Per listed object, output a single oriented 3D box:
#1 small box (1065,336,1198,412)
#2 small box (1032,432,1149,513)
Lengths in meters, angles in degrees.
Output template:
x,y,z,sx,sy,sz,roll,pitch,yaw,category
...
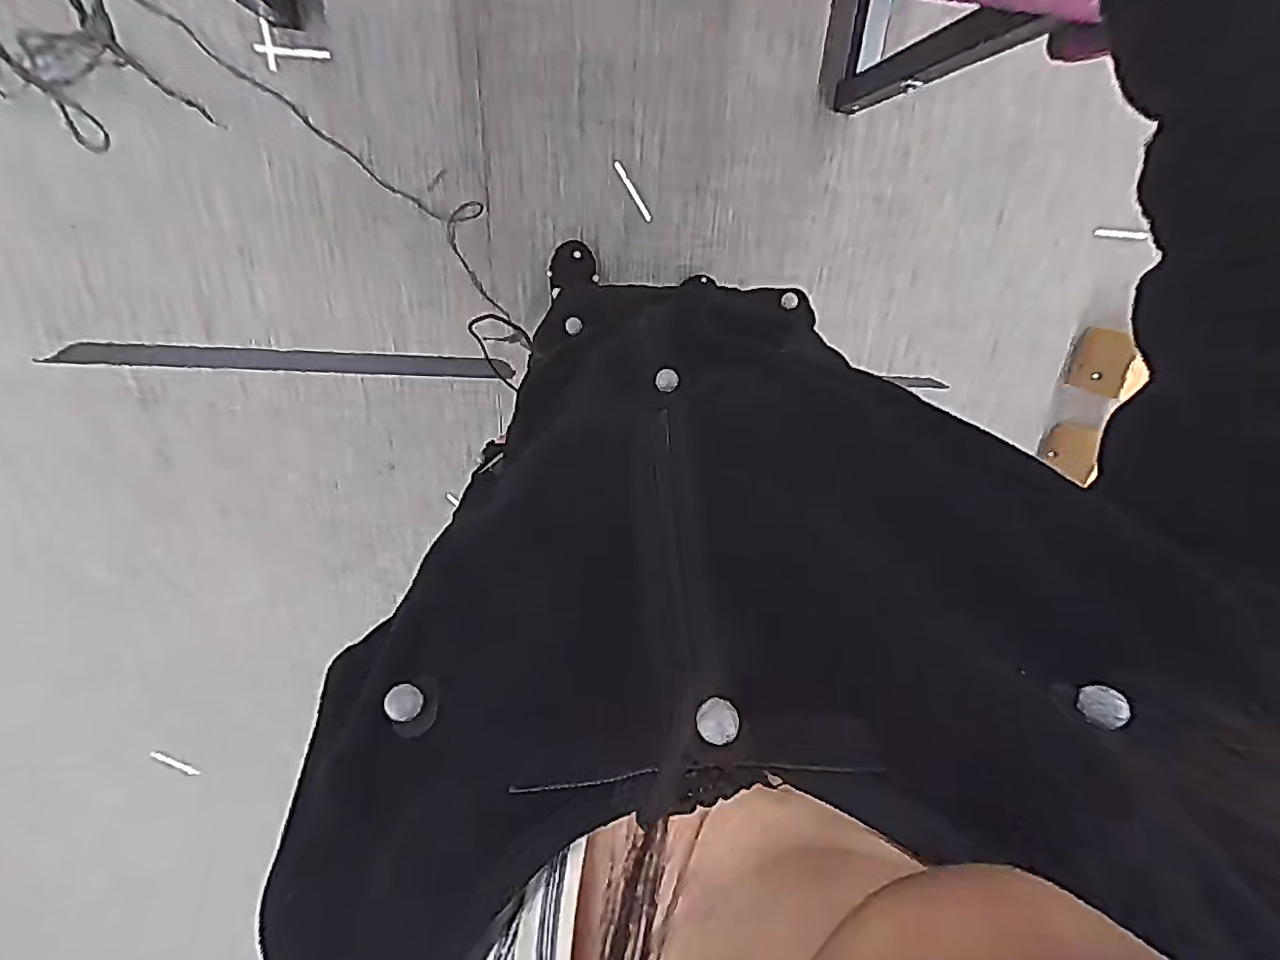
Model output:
x,y,z,sx,sy,sz,roll,pitch,yaw,category
1.314,-0.289,1.462,0.179,0.176,0.168,0,116,-9,small box
1.304,-0.024,1.583,0.168,0.176,0.179,6,115,-10,small box
